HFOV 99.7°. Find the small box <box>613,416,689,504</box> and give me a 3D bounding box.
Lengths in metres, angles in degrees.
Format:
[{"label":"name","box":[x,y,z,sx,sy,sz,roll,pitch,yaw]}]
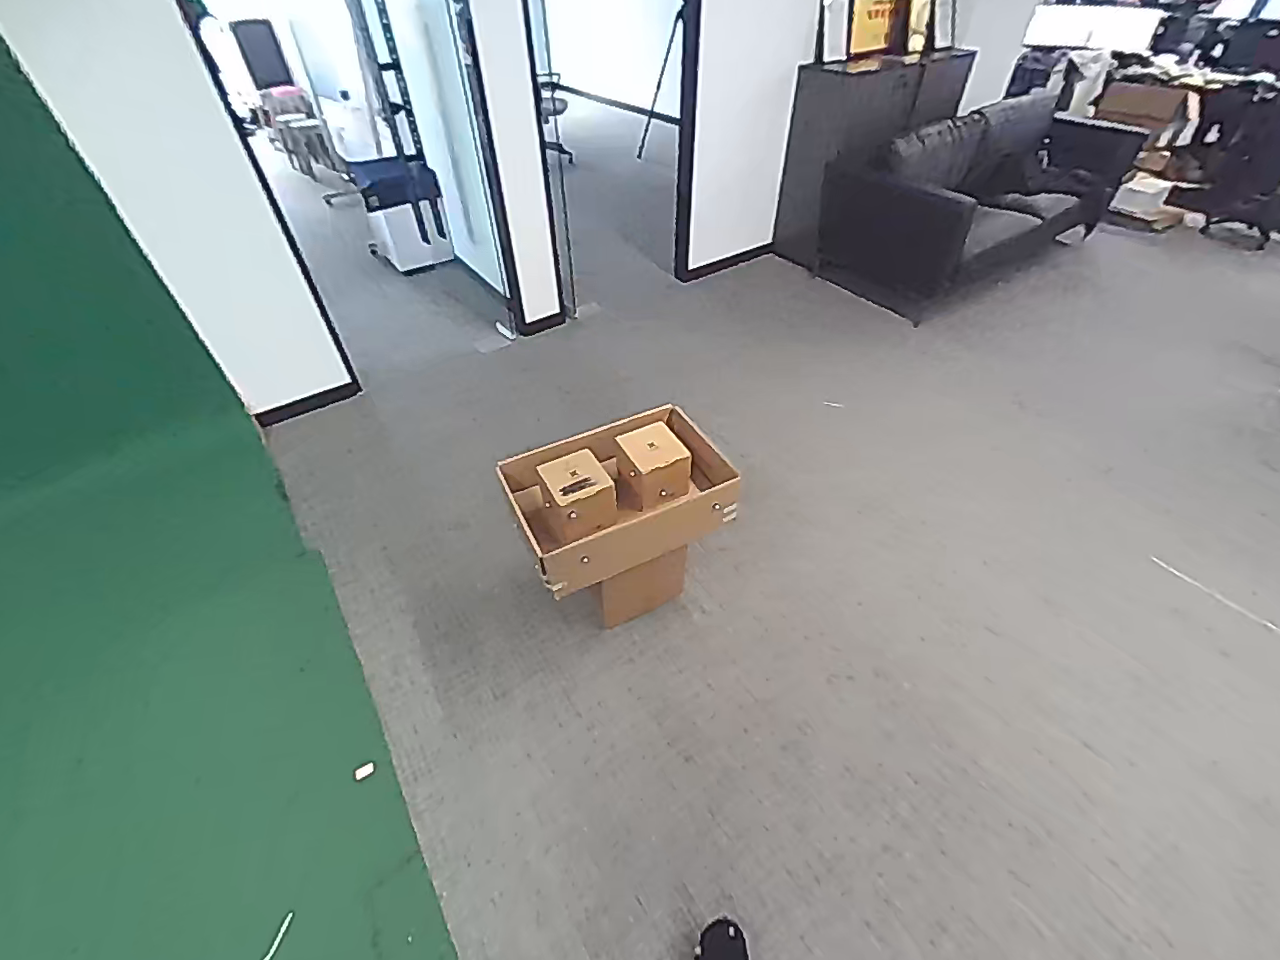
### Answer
[{"label":"small box","box":[0.028,-0.058,1.633,0.168,0.176,0.179,-21,51,-19]}]
